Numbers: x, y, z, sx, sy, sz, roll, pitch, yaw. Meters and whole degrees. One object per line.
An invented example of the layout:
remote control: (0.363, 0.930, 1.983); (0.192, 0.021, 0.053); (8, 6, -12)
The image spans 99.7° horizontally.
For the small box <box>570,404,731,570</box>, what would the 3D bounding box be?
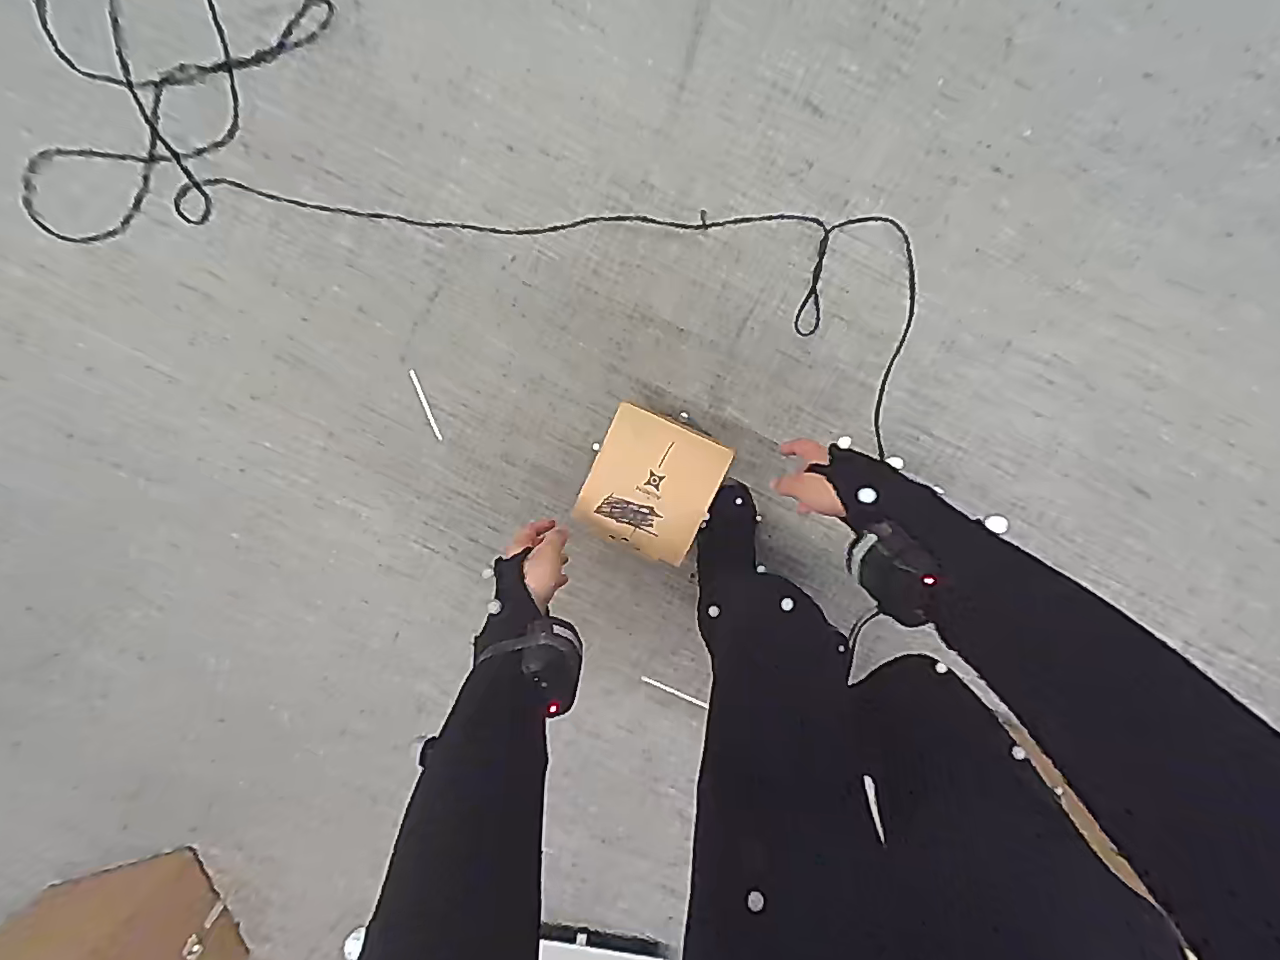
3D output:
small box: (0.017, 0.000, 0.796); (0.168, 0.176, 0.179); (25, 99, -2)
